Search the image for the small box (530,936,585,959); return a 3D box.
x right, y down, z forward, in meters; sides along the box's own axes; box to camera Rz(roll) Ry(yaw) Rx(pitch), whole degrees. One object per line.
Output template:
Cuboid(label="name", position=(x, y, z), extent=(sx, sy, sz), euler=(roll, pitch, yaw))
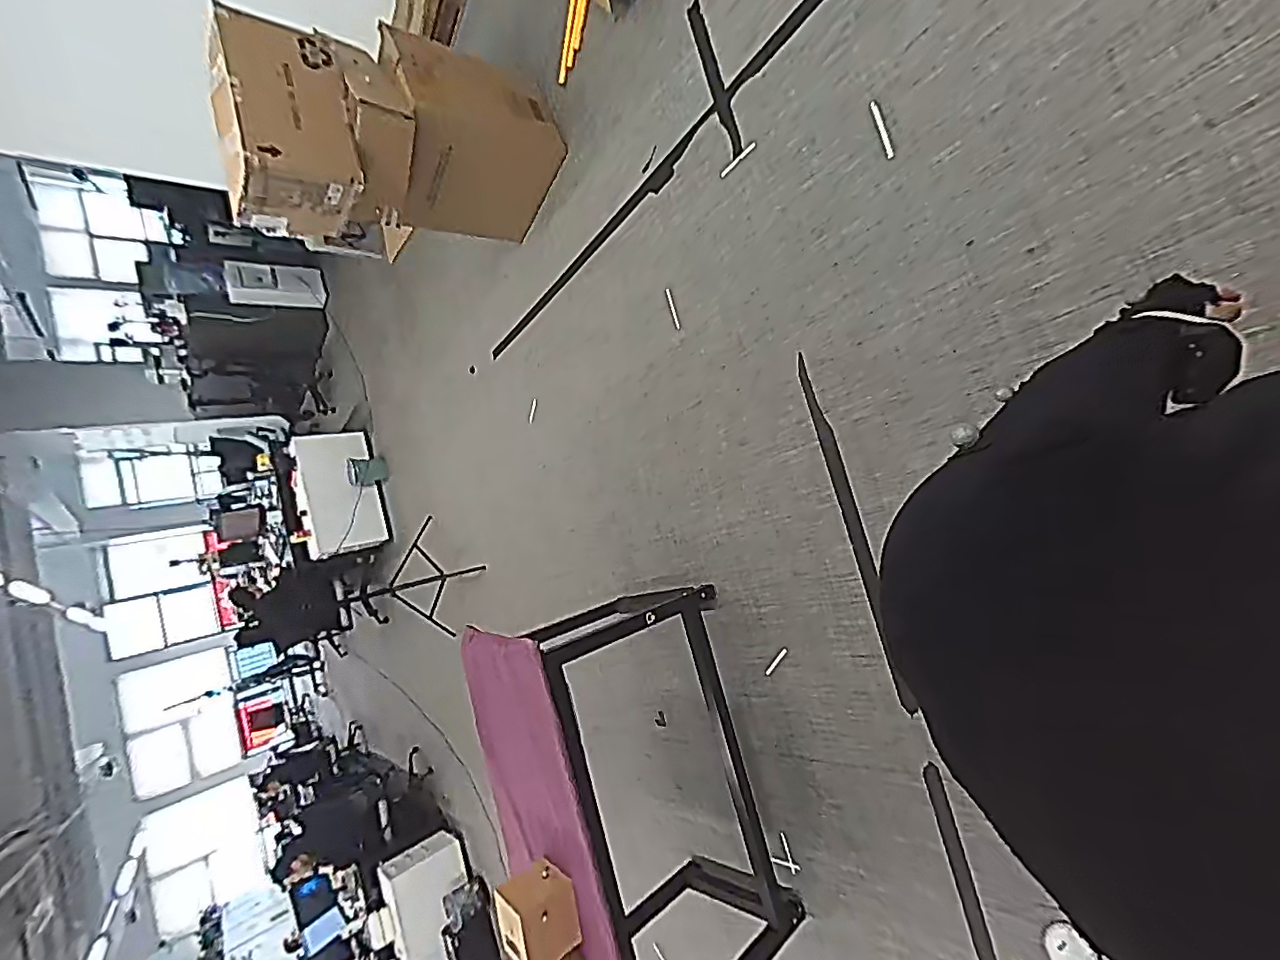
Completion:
Cuboid(label="small box", position=(-0.239, 1.464, 1.540), extent=(0.179, 0.176, 0.168), euler=(-14, 87, 50))
